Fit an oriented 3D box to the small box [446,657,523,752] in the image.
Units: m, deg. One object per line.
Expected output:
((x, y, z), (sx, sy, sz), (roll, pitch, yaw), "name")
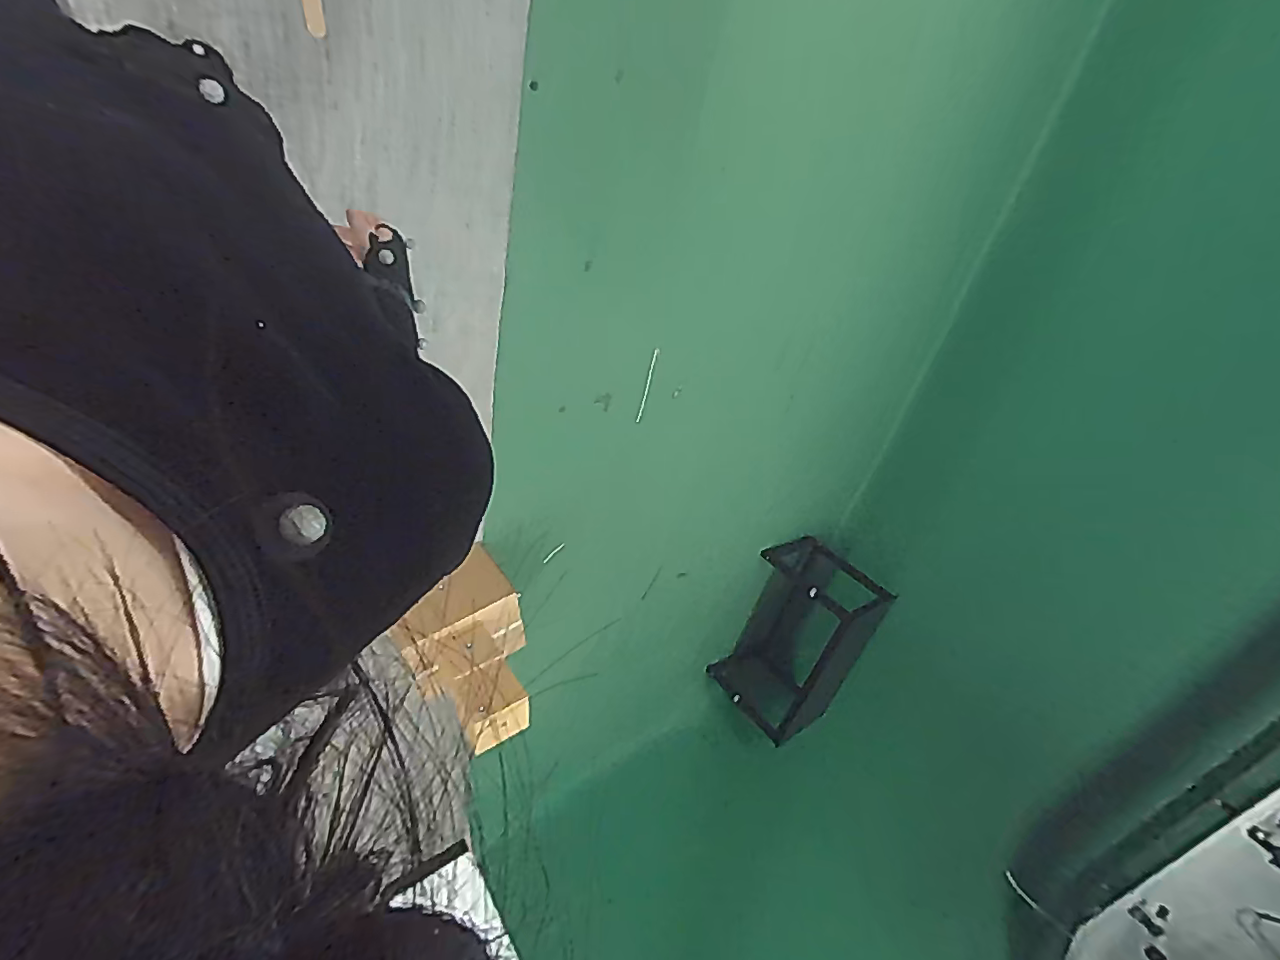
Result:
((-0.477, 0.682, 1.663), (0.179, 0.176, 0.168), (-18, 132, -33), "small box")

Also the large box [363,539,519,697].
((-0.702, 0.481, 1.941), (0.408, 0.320, 0.320), (-26, 138, -30), "large box")

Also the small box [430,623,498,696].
((-0.571, 0.592, 1.760), (0.168, 0.176, 0.179), (-19, 133, -33), "small box")
